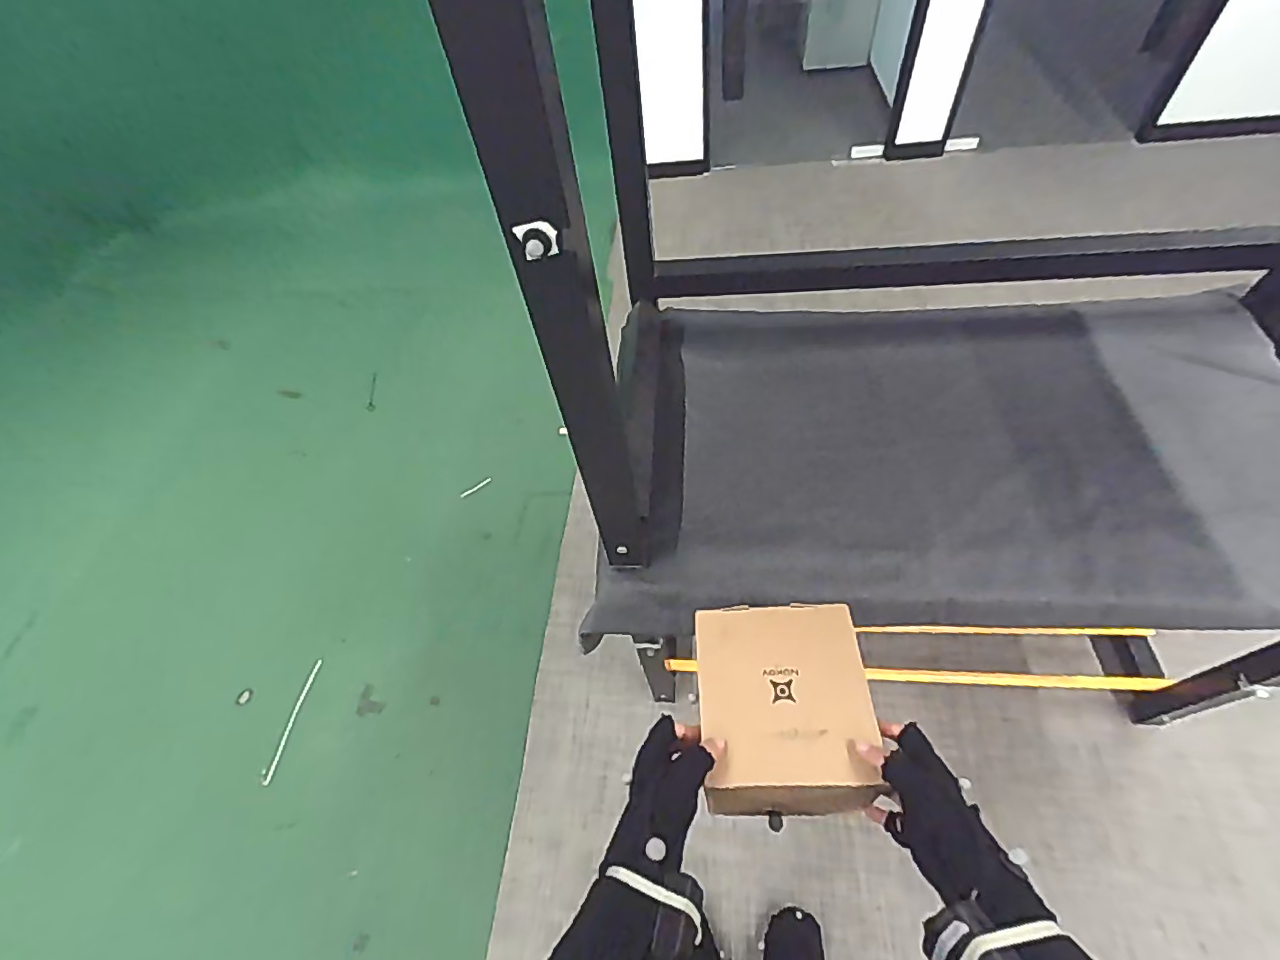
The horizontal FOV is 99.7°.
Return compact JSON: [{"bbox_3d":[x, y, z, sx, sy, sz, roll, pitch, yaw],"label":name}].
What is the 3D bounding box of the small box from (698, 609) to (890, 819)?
[{"bbox_3d":[0.154,0.263,0.602,0.168,0.176,0.179,-5,50,7],"label":"small box"}]
